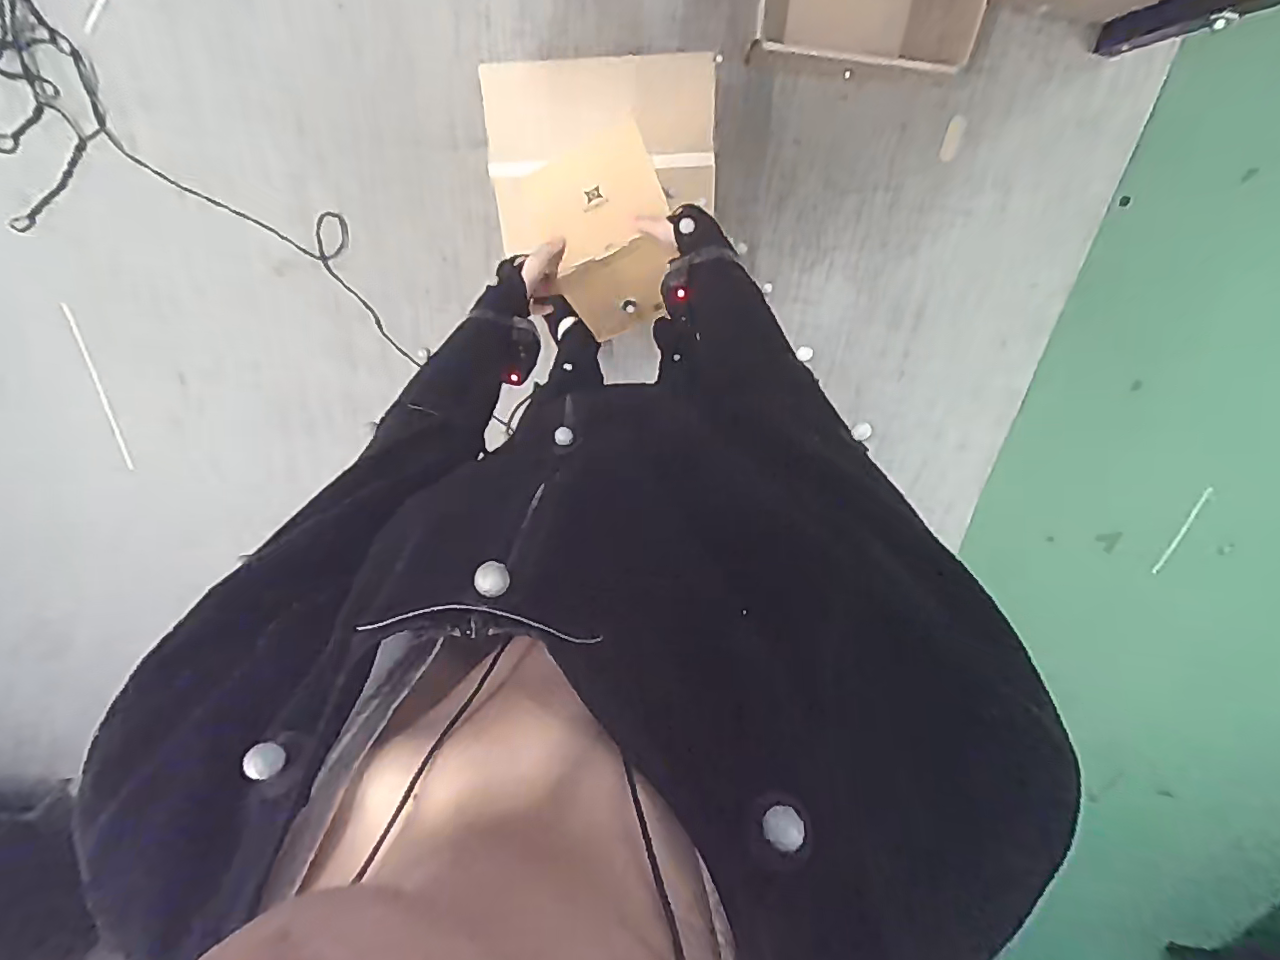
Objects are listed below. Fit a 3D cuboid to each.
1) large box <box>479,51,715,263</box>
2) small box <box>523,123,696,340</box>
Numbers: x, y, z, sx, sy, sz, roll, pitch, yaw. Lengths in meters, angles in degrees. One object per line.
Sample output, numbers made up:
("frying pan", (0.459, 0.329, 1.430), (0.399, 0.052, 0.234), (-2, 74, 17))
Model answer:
("large box", (-0.068, -0.627, 1.098), (0.408, 0.320, 0.320), (-2, 117, 1))
("small box", (-0.035, -0.327, 0.742), (0.168, 0.176, 0.179), (-21, 72, 11))
